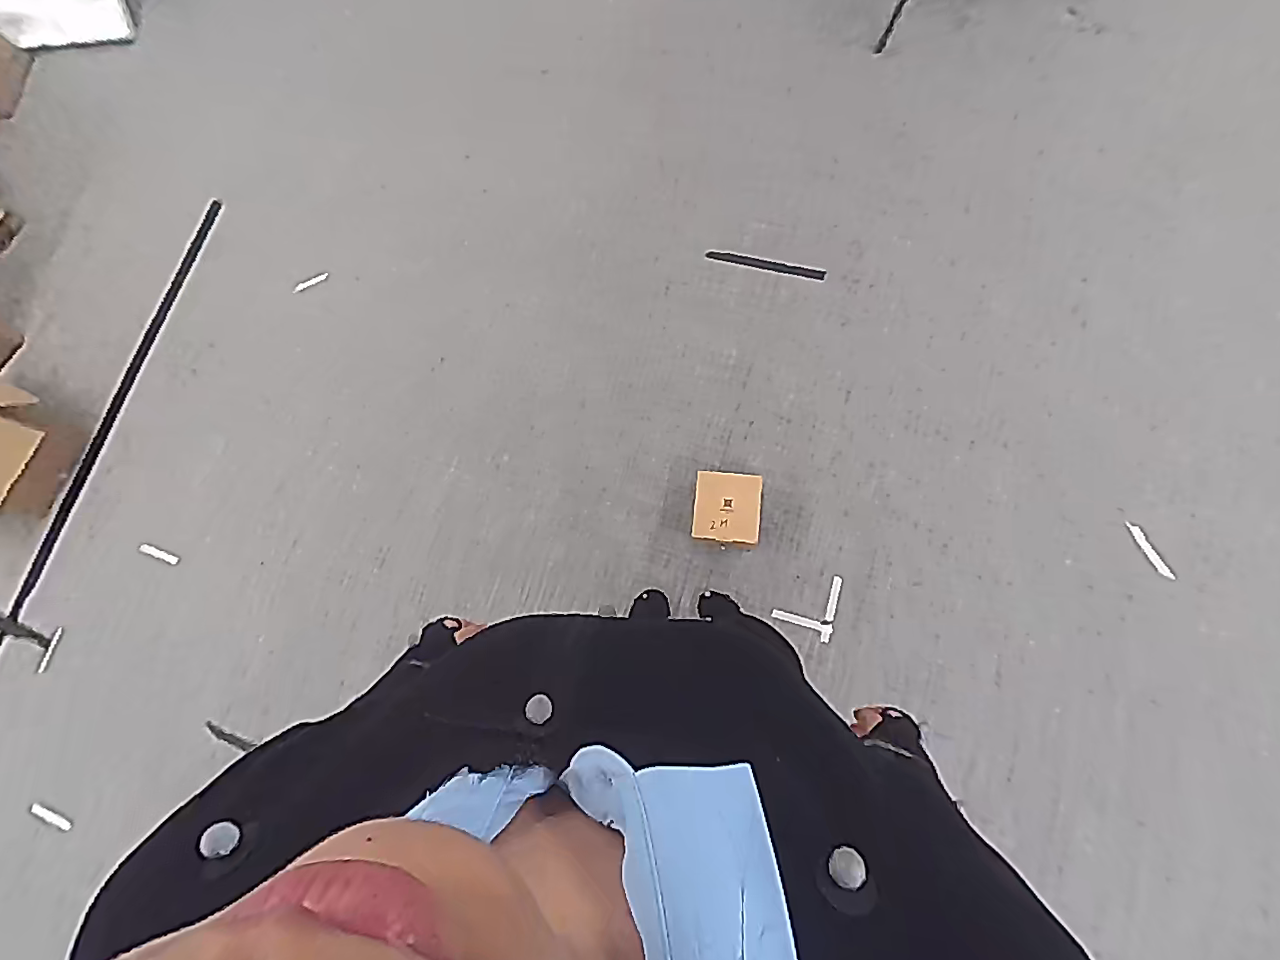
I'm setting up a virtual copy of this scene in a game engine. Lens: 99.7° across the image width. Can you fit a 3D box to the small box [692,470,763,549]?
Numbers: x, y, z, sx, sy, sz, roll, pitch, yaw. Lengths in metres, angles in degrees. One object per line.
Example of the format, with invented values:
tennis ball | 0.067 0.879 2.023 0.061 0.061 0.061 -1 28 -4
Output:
small box | 0.230 0.083 1.432 0.168 0.176 0.179 5 80 9
